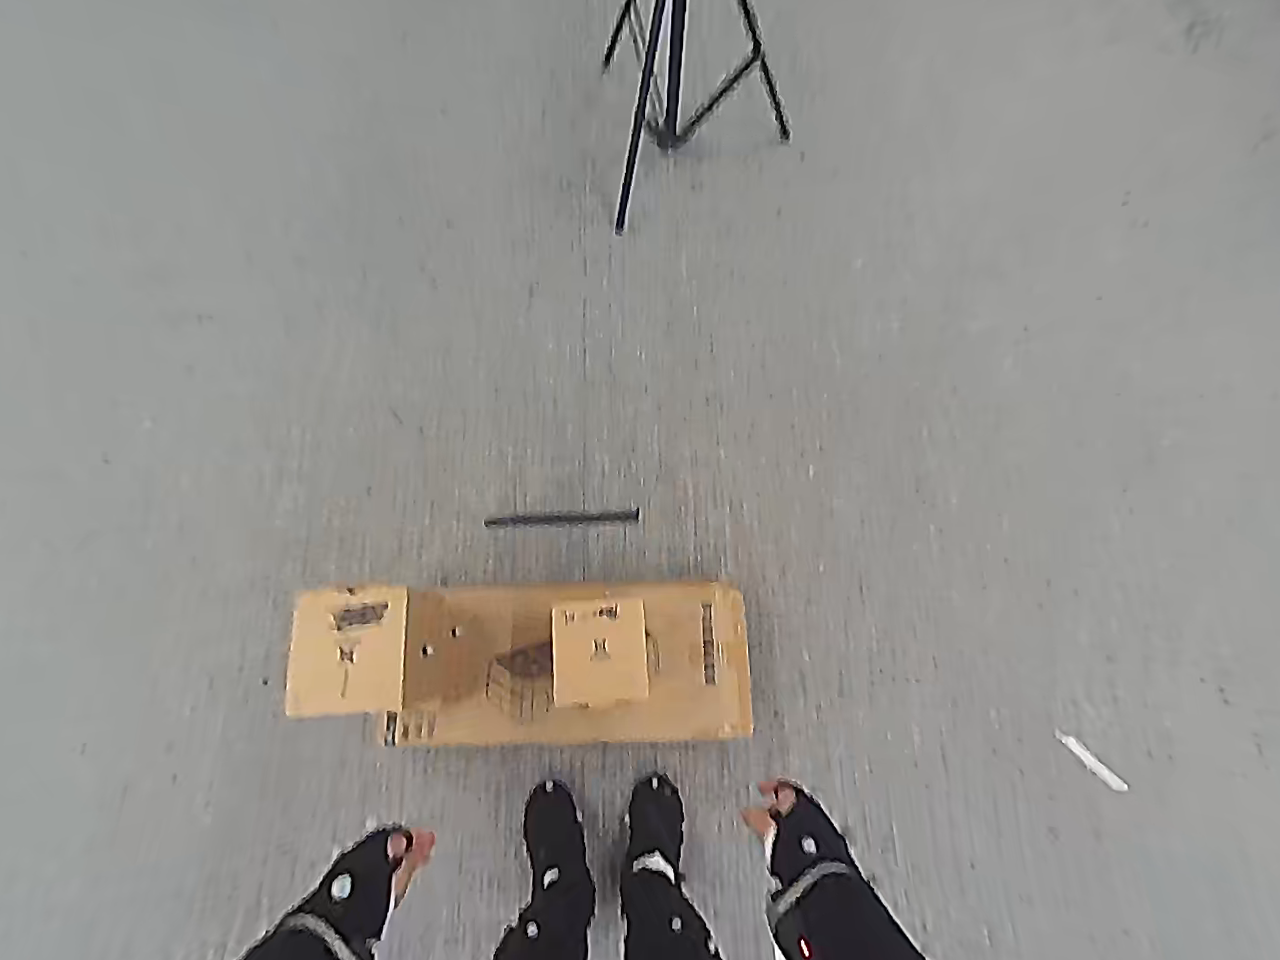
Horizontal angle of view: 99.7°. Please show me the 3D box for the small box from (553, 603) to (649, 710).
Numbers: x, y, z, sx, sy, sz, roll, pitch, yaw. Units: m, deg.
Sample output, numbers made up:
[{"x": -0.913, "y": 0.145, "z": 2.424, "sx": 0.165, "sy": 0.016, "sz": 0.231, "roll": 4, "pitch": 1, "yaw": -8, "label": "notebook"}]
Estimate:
[{"x": -0.070, "y": 0.329, "z": 1.027, "sx": 0.168, "sy": 0.176, "sz": 0.179, "roll": -3, "pitch": 74, "yaw": 0, "label": "small box"}]

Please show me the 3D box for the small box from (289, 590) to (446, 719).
[{"x": -0.420, "y": 0.276, "z": 0.865, "sx": 0.168, "sy": 0.176, "sz": 0.179, "roll": -3, "pitch": 74, "yaw": -2, "label": "small box"}]

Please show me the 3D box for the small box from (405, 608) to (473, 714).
[{"x": -0.420, "y": 0.338, "z": 1.018, "sx": 0.168, "sy": 0.176, "sz": 0.179, "roll": -2, "pitch": 73, "yaw": -1, "label": "small box"}]
